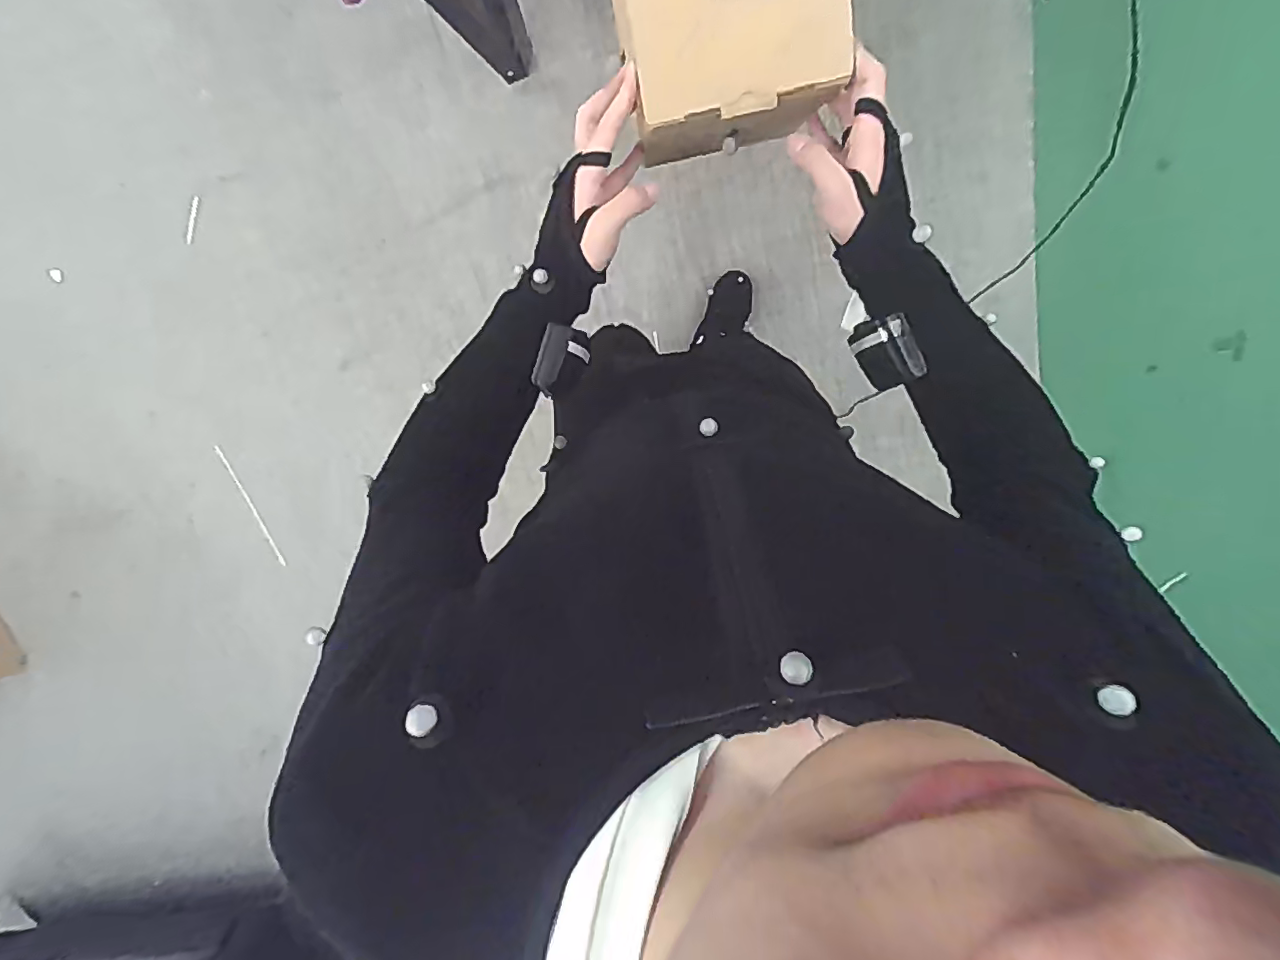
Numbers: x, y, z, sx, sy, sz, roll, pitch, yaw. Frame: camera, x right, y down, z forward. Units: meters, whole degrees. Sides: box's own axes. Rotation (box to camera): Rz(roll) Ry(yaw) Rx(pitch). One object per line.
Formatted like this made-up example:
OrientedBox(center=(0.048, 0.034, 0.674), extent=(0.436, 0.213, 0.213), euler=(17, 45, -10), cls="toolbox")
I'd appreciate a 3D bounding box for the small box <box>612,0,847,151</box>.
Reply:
OrientedBox(center=(0.064, -0.404, 0.466), extent=(0.168, 0.176, 0.179), euler=(-12, 111, 3), cls="small box")
